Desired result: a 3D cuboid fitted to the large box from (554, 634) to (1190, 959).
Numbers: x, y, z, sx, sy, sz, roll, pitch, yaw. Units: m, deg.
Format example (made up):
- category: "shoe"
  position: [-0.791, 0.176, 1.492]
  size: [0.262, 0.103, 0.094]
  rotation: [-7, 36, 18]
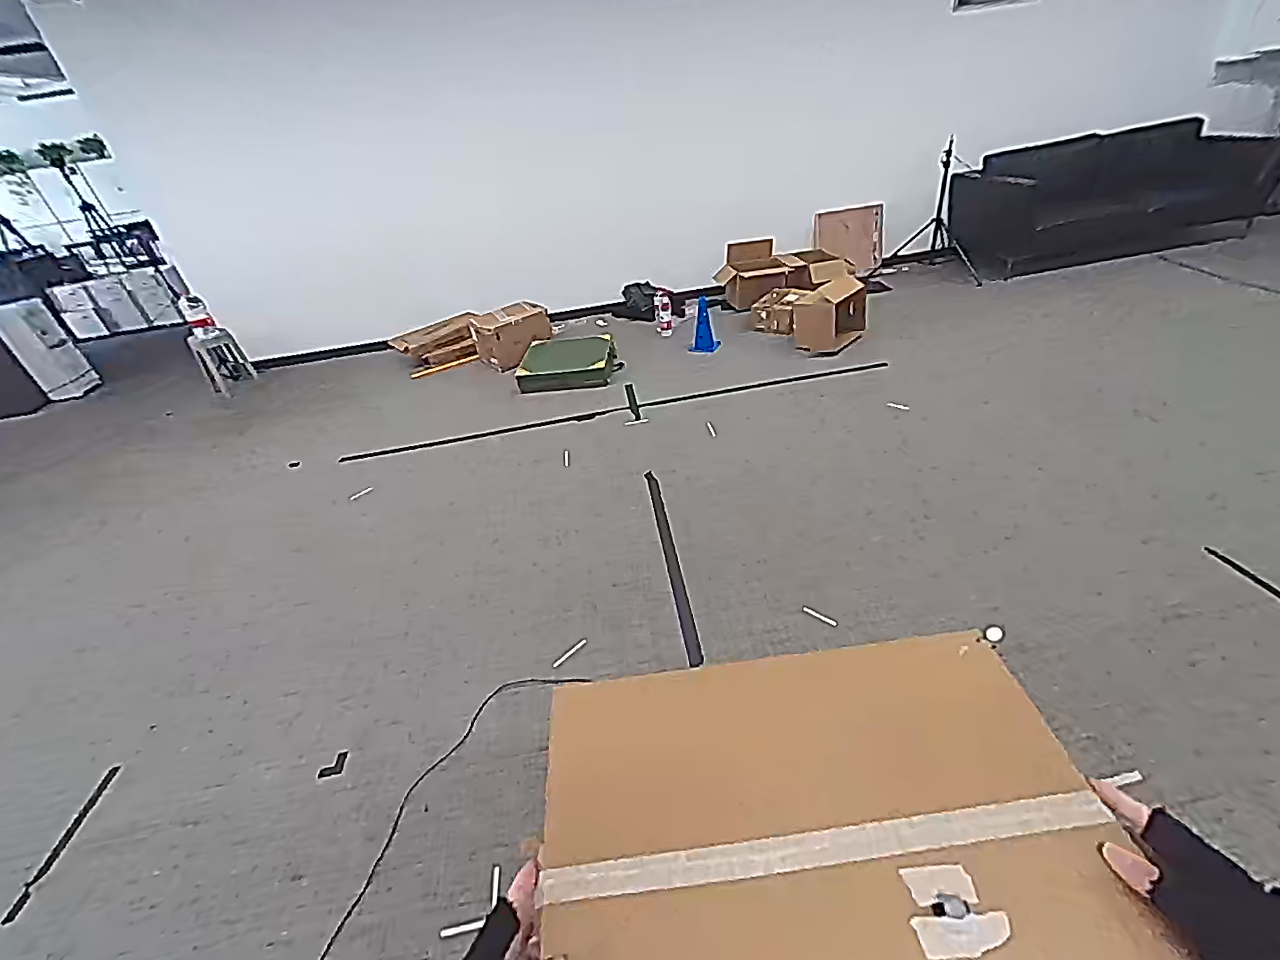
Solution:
- category: "large box"
  position: [0.146, 0.386, 0.489]
  size: [0.408, 0.320, 0.320]
  rotation: [-8, 38, -1]
